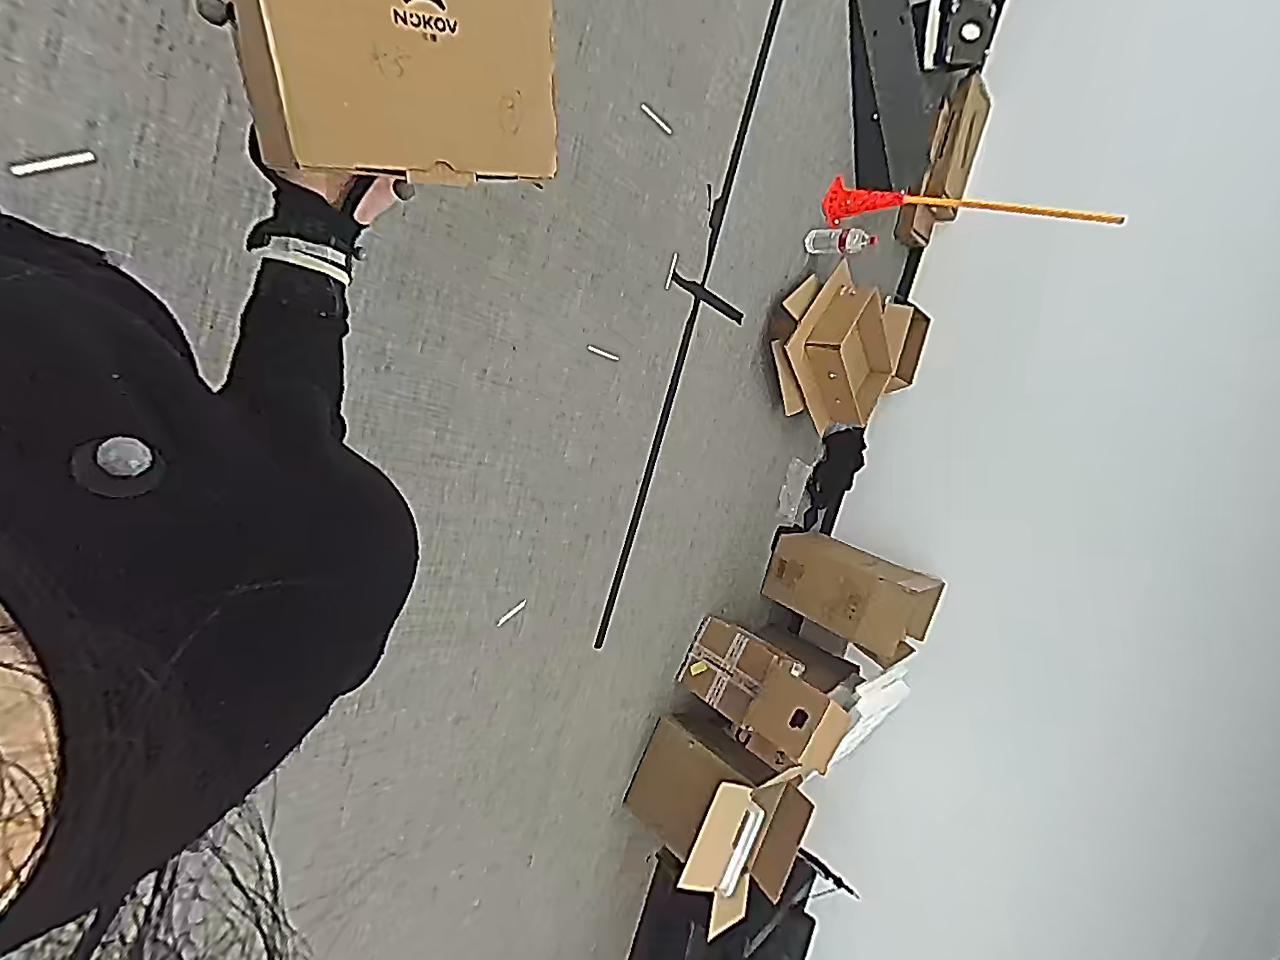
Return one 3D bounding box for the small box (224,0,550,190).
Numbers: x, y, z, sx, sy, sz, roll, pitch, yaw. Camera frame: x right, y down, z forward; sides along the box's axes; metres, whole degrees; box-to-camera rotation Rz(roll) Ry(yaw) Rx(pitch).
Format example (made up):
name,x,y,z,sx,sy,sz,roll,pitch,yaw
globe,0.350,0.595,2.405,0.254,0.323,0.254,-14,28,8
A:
name,x,y,z,sx,sy,sz,roll,pitch,yaw
small box,-0.174,-0.305,0.368,0.168,0.176,0.179,-18,126,-33
